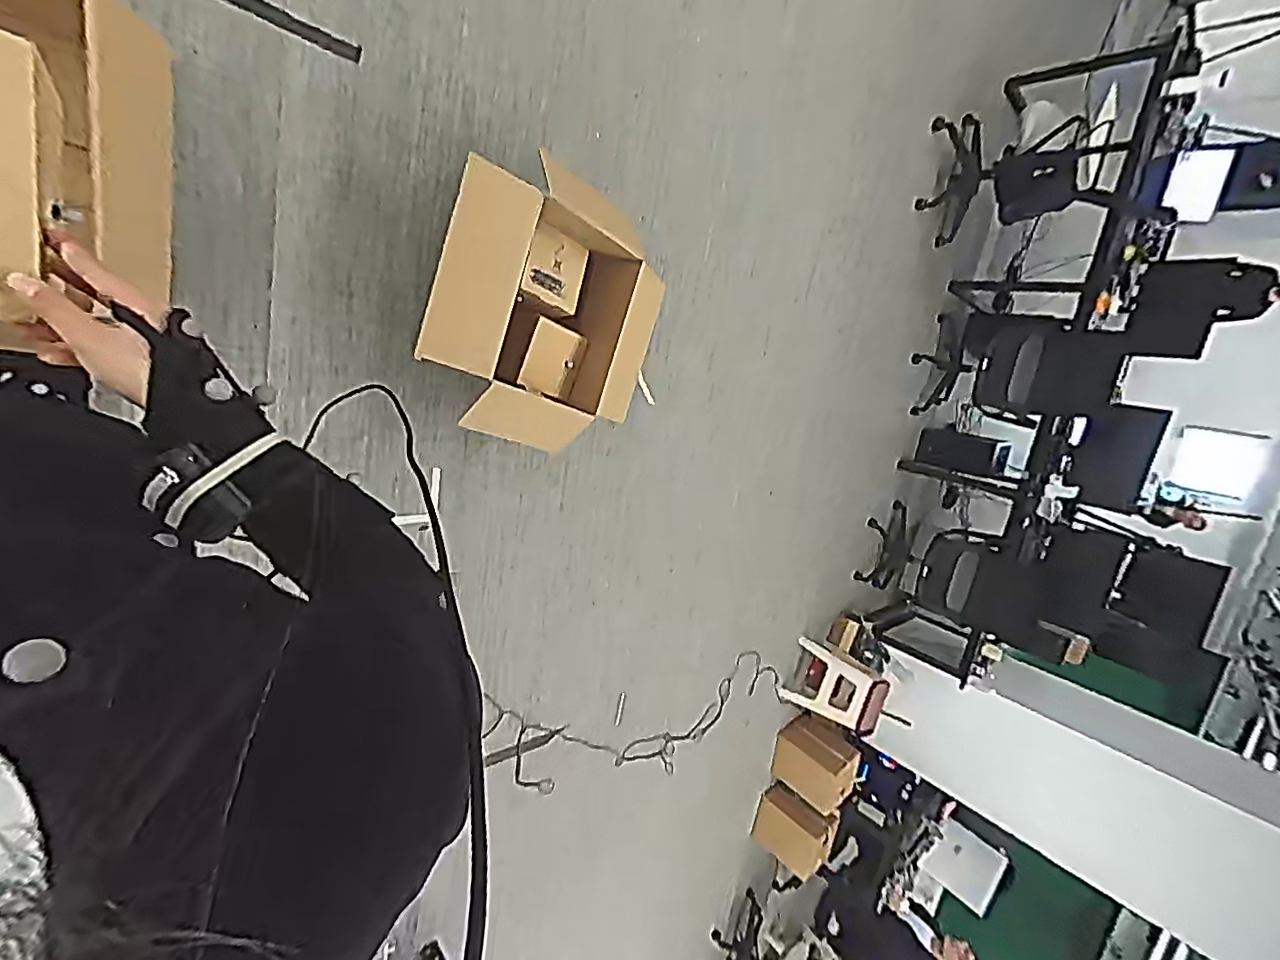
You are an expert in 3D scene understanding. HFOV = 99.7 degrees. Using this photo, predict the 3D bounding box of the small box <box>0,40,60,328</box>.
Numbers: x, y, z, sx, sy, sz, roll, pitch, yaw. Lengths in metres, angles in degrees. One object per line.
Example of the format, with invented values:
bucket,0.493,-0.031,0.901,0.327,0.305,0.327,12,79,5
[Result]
small box,-0.488,-0.201,0.332,0.179,0.176,0.168,1,105,-44
